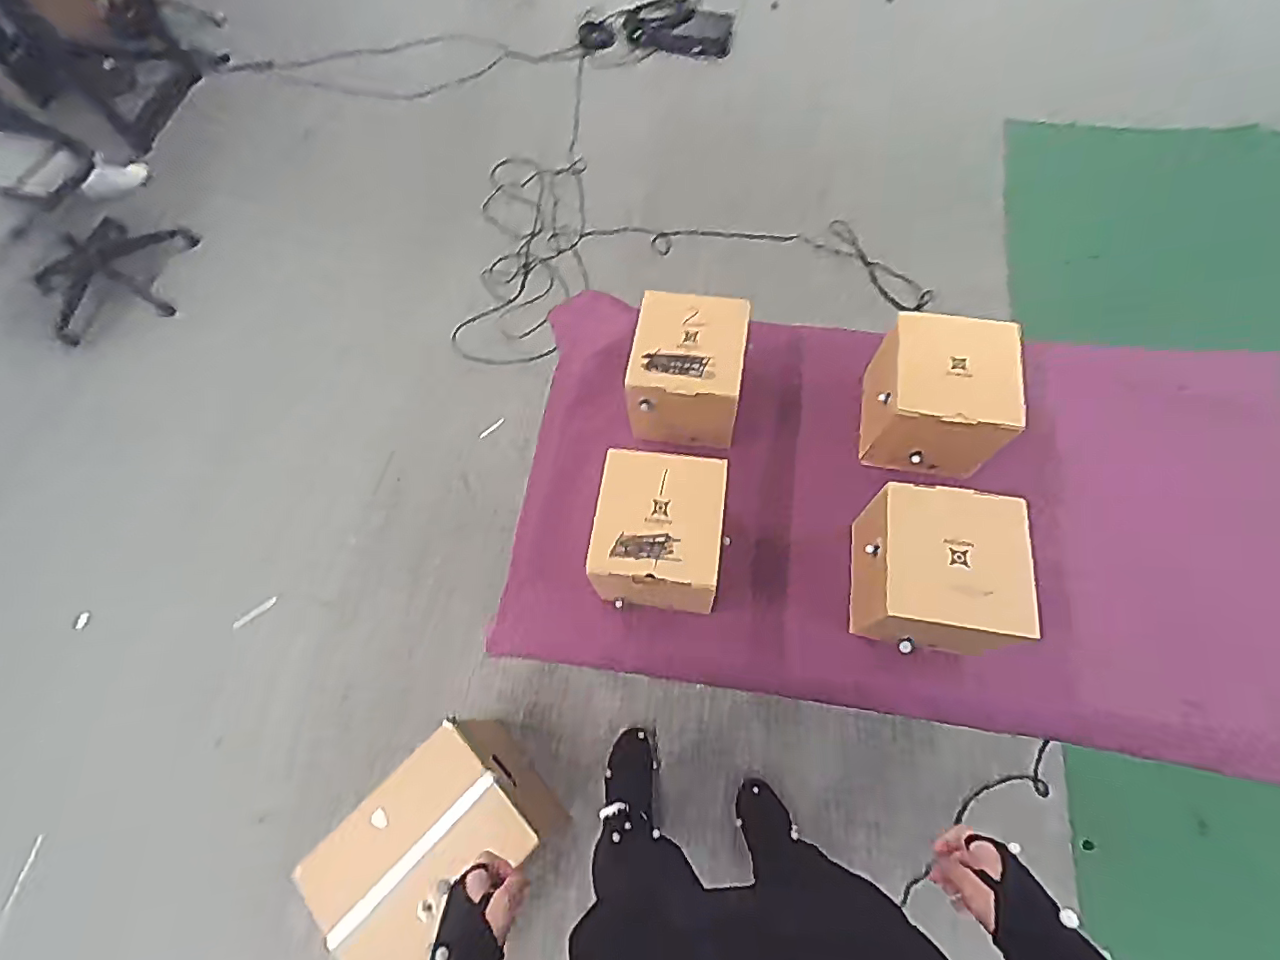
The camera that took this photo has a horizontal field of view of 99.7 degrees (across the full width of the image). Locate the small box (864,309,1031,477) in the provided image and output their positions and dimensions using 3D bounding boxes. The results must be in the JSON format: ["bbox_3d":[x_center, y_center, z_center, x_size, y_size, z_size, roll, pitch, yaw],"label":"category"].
[{"bbox_3d":[0.447,-0.125,0.811,0.168,0.176,0.179,9,69,8],"label":"small box"}]

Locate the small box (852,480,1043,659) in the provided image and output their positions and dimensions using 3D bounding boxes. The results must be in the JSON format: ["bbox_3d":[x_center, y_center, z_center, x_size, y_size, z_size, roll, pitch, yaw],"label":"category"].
[{"bbox_3d":[0.385,0.123,0.708,0.168,0.176,0.179,8,67,10],"label":"small box"}]

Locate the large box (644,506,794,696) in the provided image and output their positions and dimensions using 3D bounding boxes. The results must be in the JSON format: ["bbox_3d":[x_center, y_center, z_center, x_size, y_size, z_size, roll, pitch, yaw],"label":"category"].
[{"bbox_3d":[0.201,0.307,1.368,0.320,0.320,0.408,7,67,7],"label":"large box"}]

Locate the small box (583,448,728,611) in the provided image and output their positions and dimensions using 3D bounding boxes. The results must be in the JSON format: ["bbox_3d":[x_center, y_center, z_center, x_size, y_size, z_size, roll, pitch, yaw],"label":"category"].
[{"bbox_3d":[0.029,0.077,0.757,0.168,0.176,0.179,6,66,7],"label":"small box"}]
